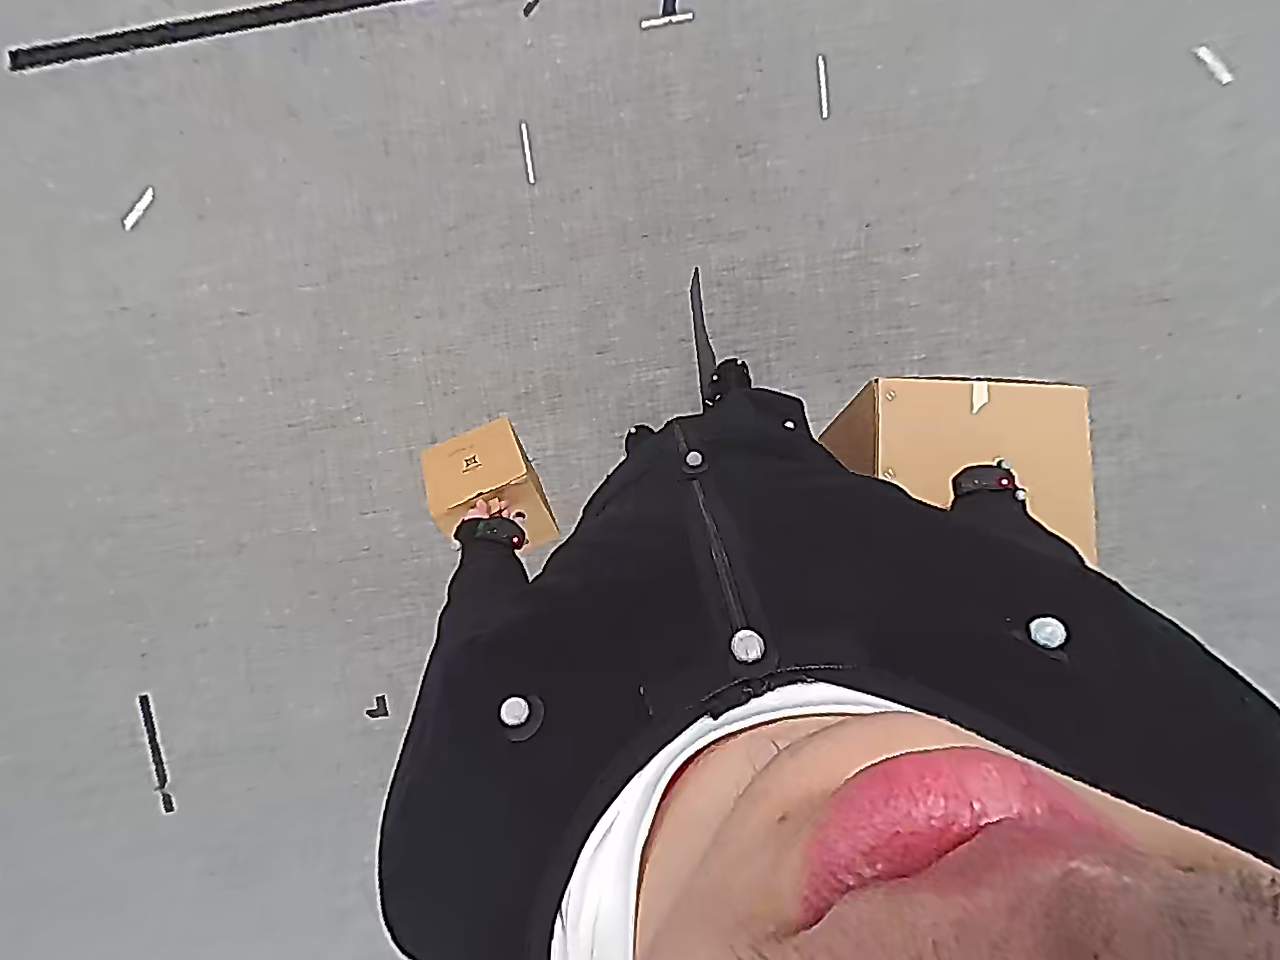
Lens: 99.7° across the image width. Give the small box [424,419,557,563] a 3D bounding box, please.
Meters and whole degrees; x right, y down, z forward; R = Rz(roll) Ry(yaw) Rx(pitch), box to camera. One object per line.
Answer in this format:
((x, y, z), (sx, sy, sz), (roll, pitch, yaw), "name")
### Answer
((-0.265, 0.026, 0.973), (0.168, 0.179, 0.176), (-24, 134, -8), "small box")
